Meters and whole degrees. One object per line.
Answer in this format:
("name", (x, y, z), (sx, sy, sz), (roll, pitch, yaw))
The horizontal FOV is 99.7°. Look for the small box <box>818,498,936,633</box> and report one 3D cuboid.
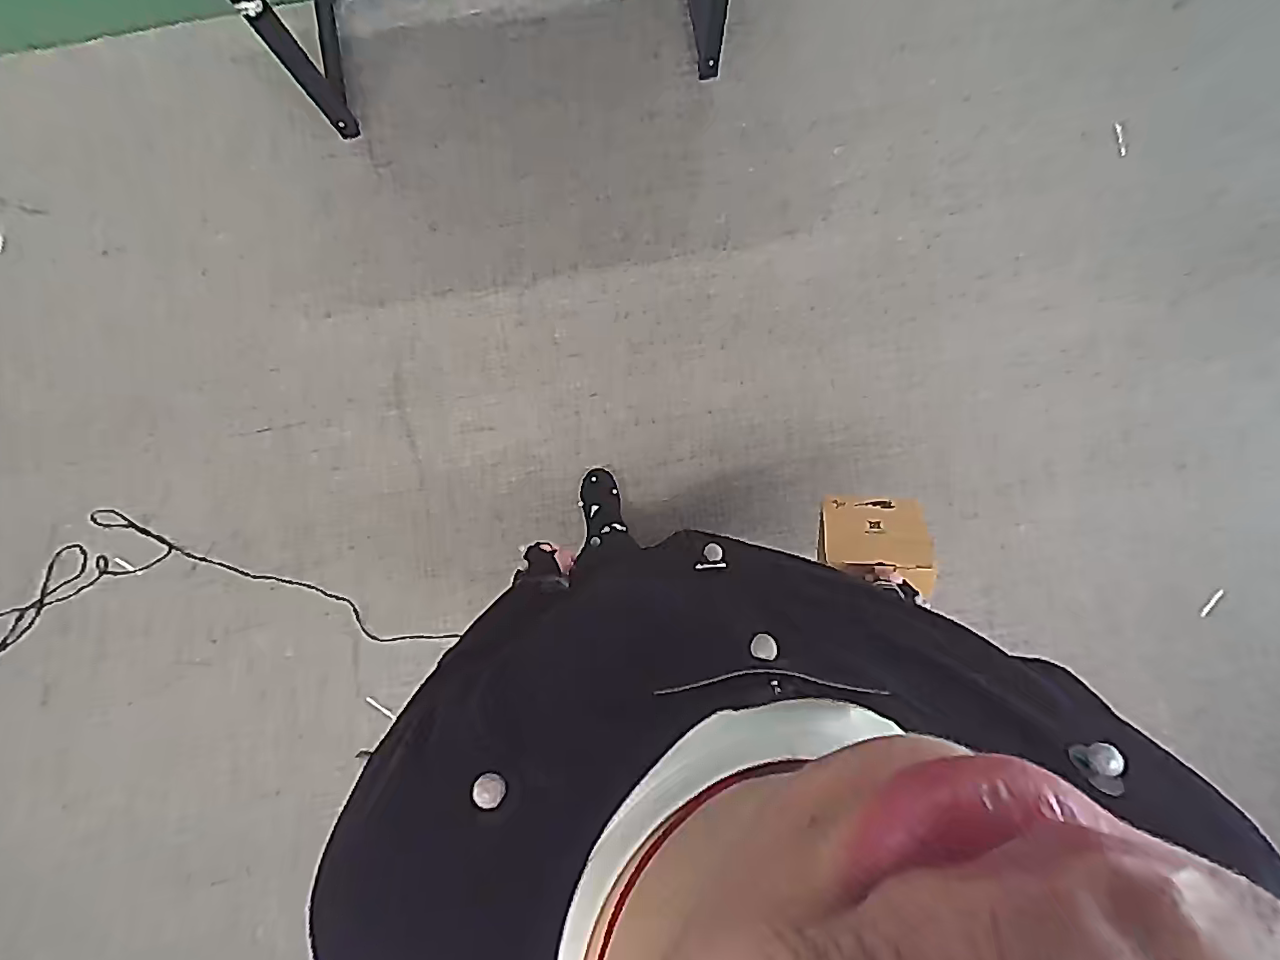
("small box", (0.409, 0.152, 0.960), (0.168, 0.179, 0.176), (-2, 127, 14))
